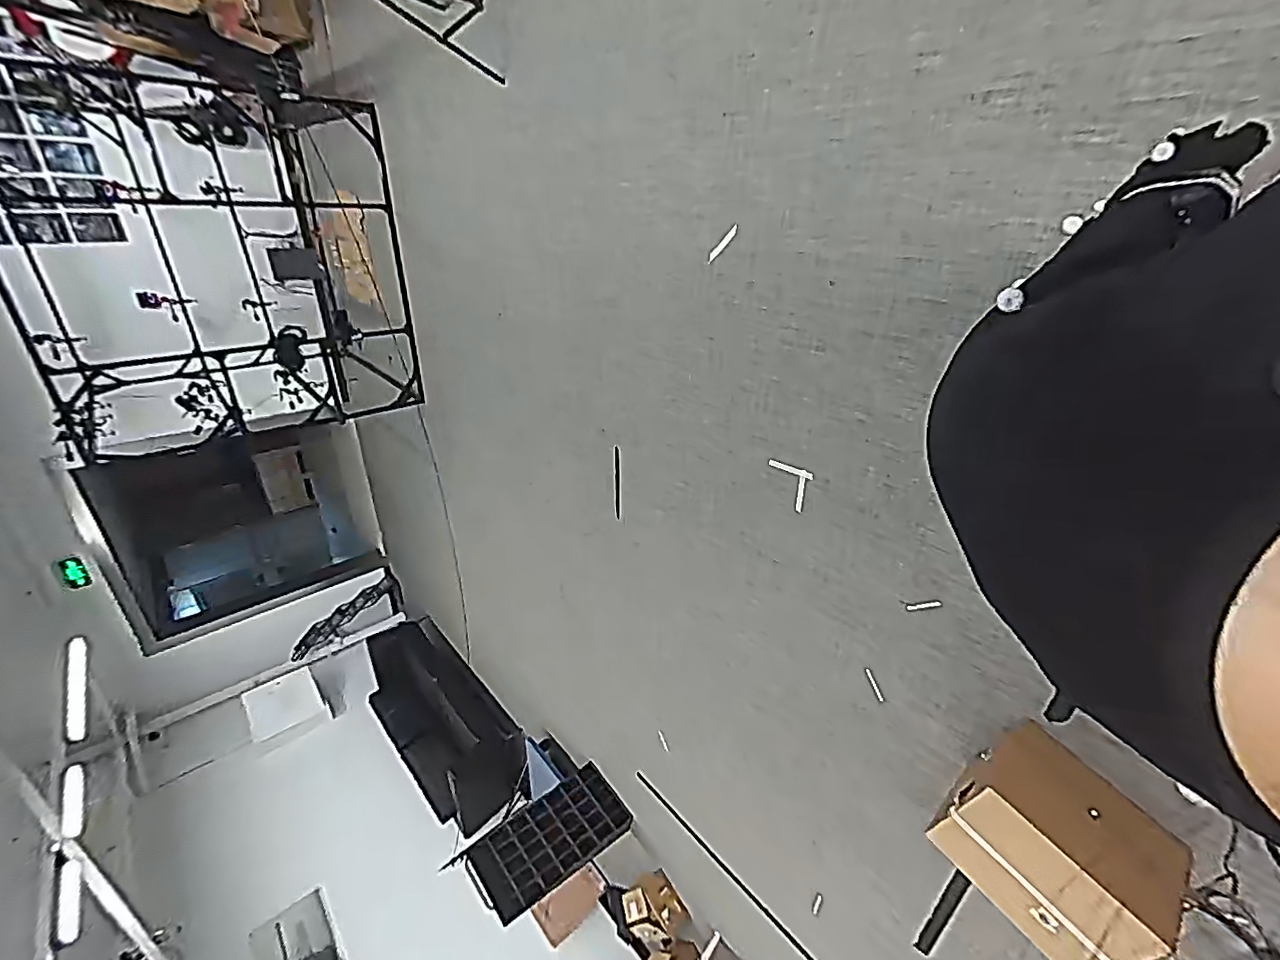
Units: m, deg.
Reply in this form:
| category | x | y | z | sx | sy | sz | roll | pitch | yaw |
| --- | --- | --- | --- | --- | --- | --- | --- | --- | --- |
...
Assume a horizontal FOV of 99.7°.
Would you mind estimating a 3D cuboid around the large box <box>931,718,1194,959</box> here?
| category | x | y | z | sx | sy | sz | roll | pitch | yaw |
| --- | --- | --- | --- | --- | --- | --- | --- | --- | --- |
| large box | 1.069 | 0.920 | 1.396 | 0.408 | 0.320 | 0.320 | 41 | 135 | 31 |
